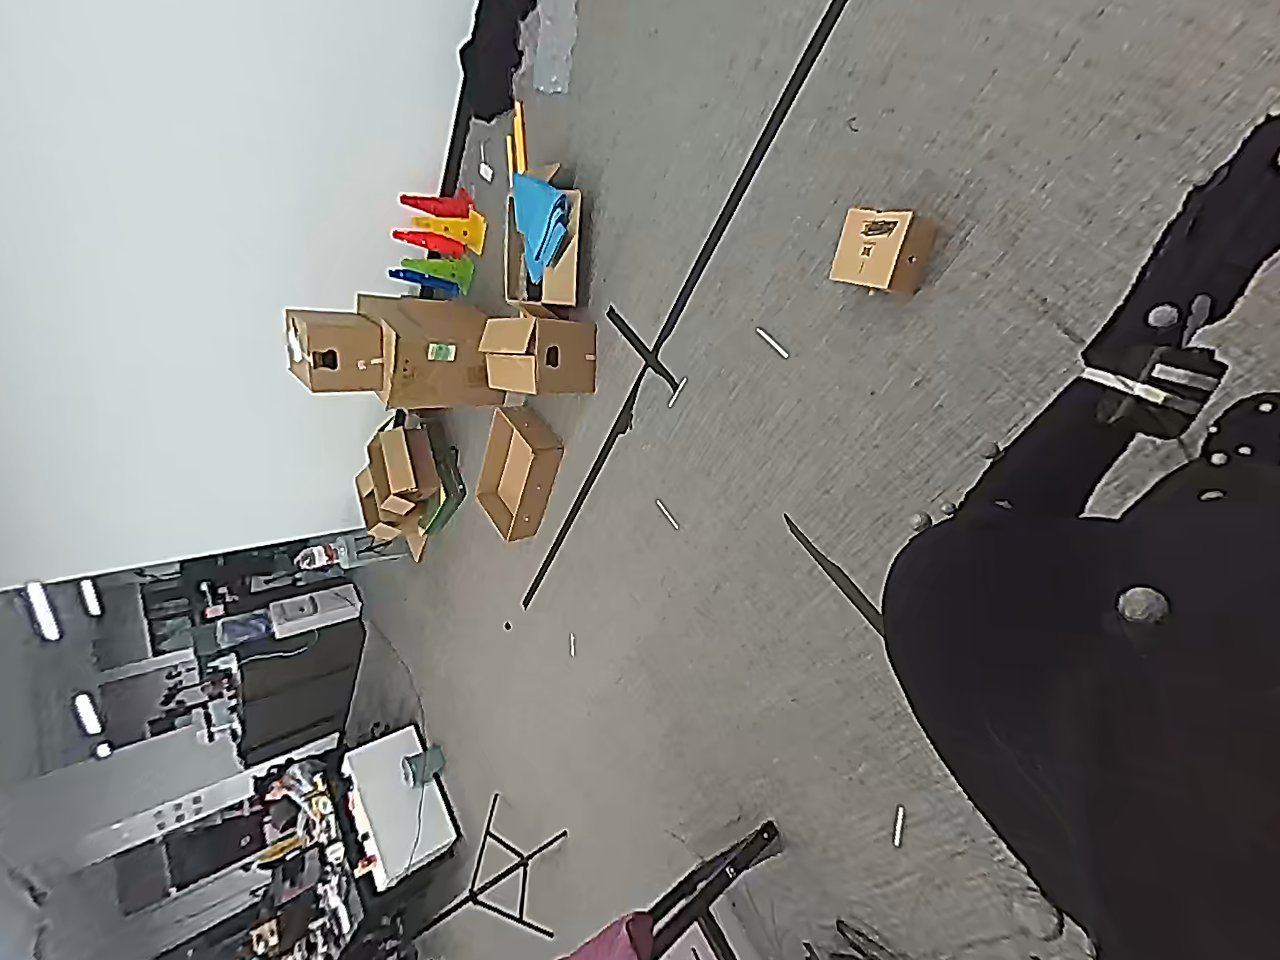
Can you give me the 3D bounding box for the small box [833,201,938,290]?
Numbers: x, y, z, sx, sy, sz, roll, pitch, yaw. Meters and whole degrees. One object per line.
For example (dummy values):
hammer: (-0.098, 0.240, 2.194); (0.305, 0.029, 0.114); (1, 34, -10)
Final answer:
small box: (0.627, -0.592, 1.373); (0.168, 0.176, 0.179); (31, 121, 40)
